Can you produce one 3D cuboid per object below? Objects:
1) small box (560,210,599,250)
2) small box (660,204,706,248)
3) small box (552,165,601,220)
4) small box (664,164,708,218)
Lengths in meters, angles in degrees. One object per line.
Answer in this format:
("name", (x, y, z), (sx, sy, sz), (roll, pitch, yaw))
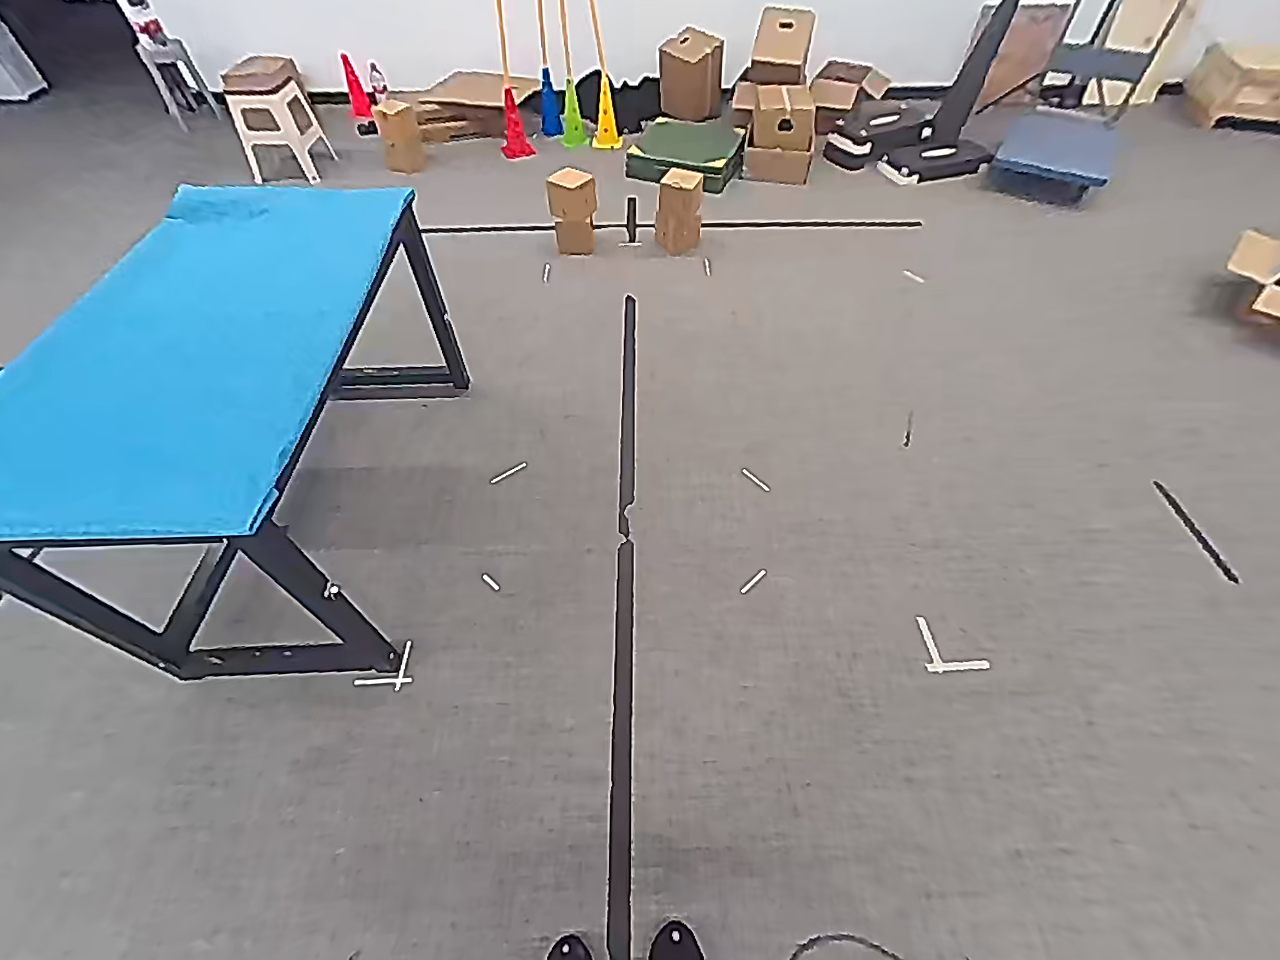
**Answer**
("small box", (-0.306, -1.295, 2.762), (0.179, 0.176, 0.168), (0, 52, 2))
("small box", (0.219, -1.319, 2.779), (0.179, 0.176, 0.168), (-27, 57, -20))
("small box", (-0.310, -1.407, 2.637), (0.179, 0.176, 0.168), (28, 57, 19))
("small box", (0.224, -1.410, 2.640), (0.168, 0.176, 0.179), (19, 54, 13))
